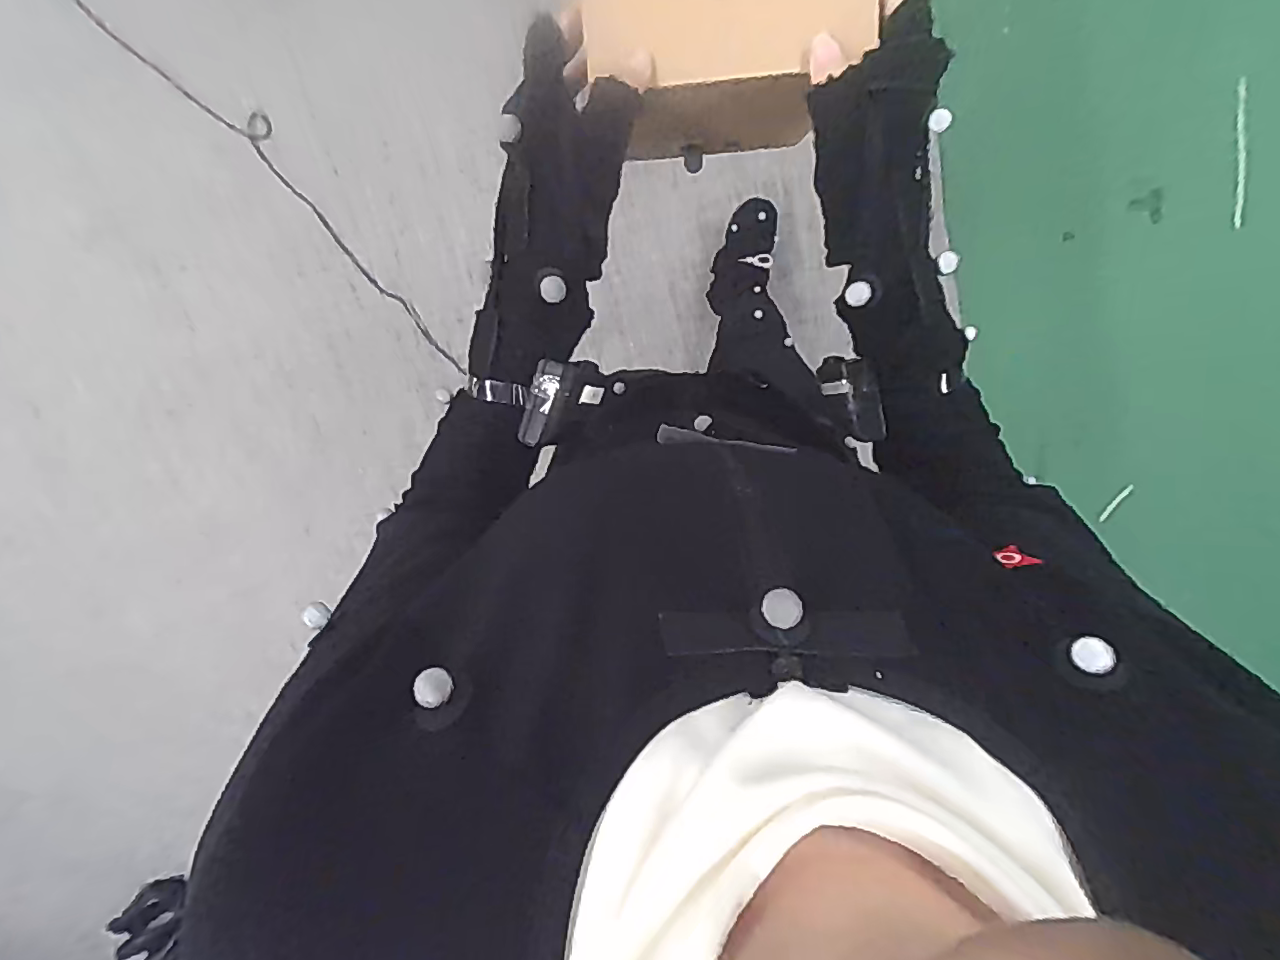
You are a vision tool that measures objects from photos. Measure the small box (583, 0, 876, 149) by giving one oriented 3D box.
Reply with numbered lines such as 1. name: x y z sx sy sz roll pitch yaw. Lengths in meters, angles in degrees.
1. small box: 0.045 -0.348 0.359 0.168 0.176 0.179 -5 108 2
